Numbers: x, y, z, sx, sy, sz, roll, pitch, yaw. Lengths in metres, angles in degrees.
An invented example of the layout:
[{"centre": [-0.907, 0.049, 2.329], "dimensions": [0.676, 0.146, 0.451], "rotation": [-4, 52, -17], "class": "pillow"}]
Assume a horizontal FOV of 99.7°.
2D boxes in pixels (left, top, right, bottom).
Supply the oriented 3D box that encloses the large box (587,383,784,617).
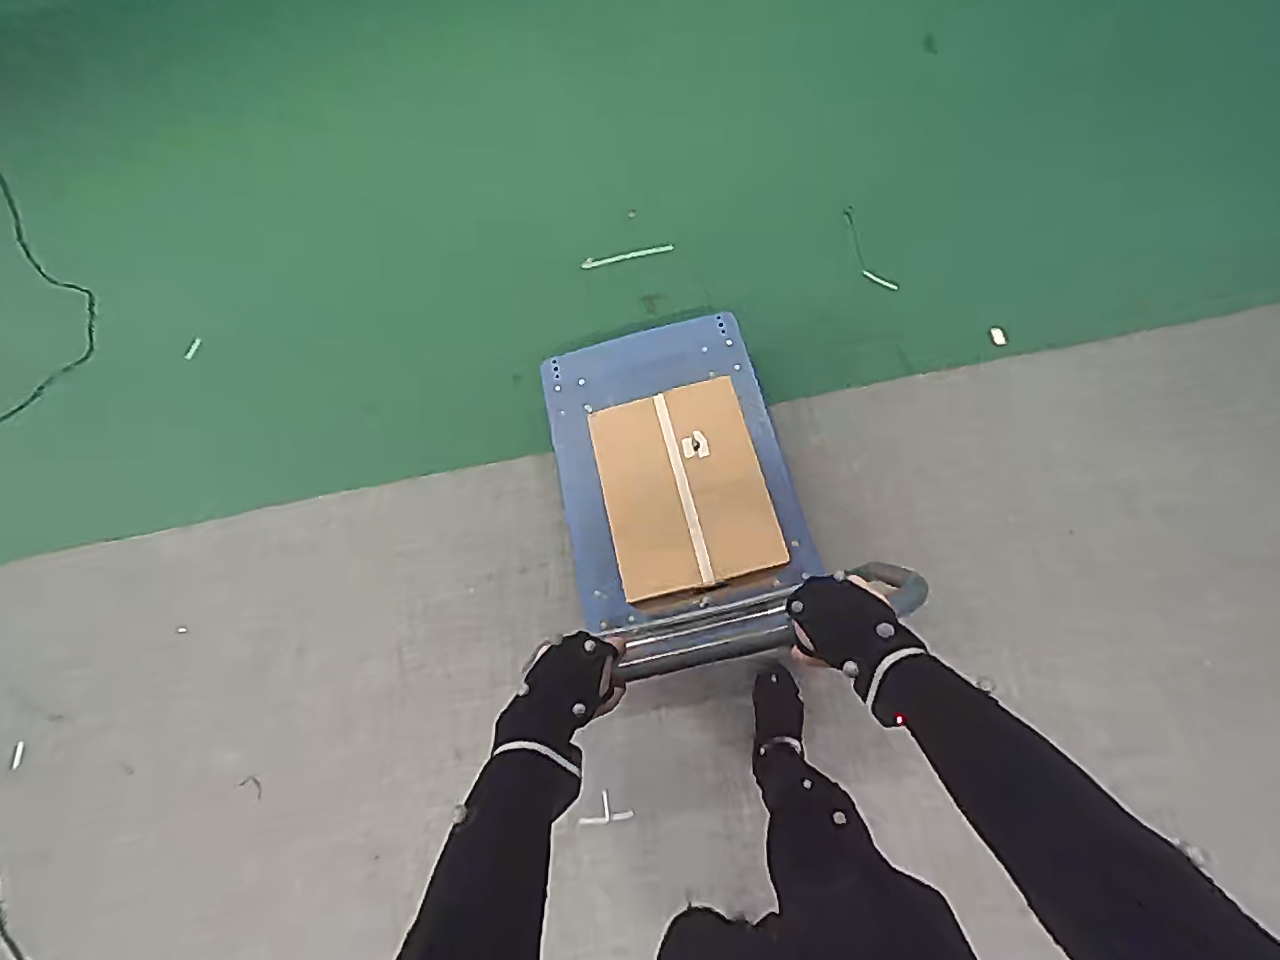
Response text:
[{"centre": [0.101, 0.062, 1.218], "dimensions": [0.320, 0.320, 0.408], "rotation": [-15, 69, 3], "class": "large box"}]
